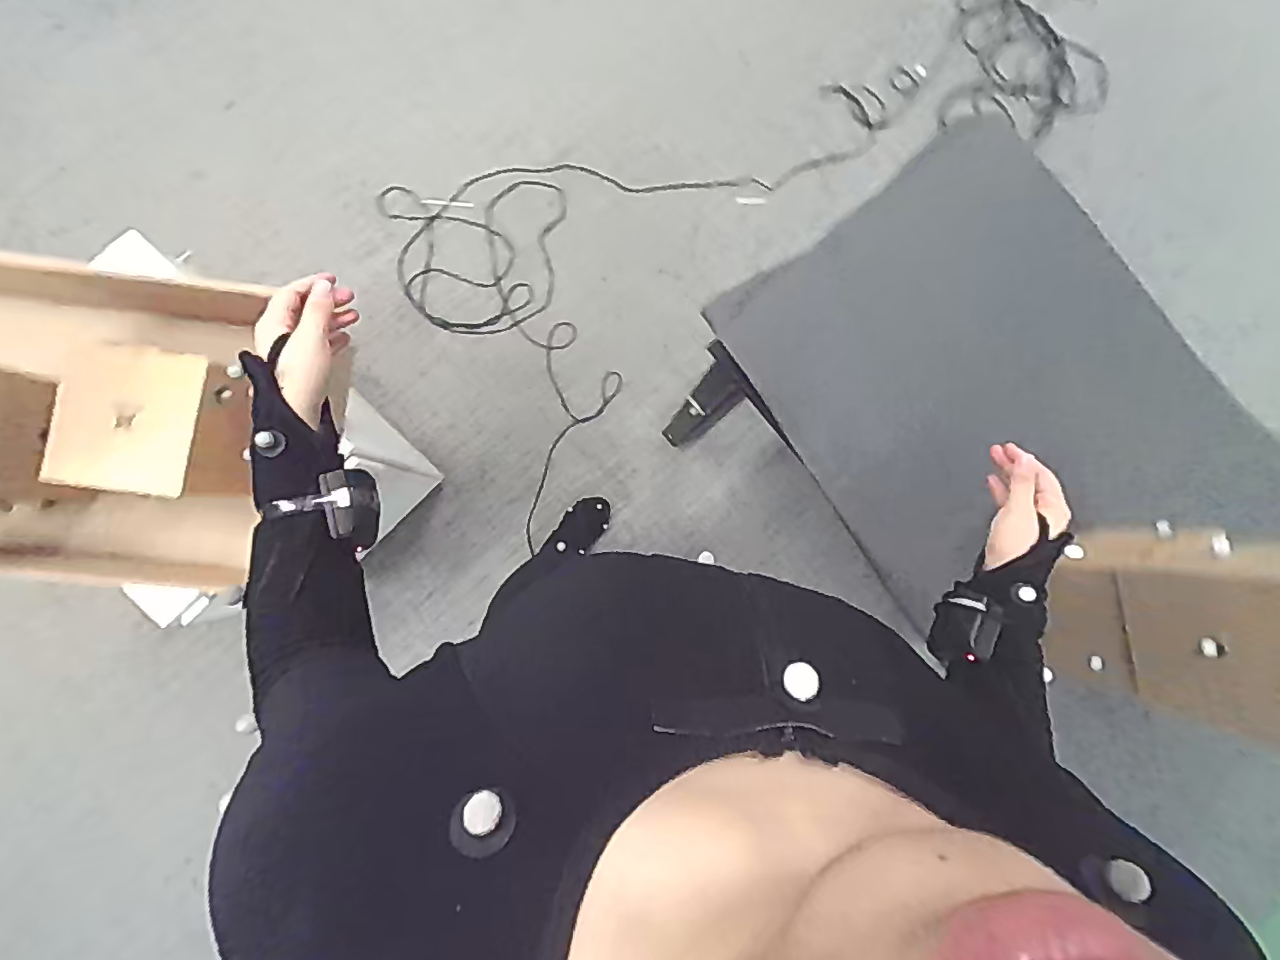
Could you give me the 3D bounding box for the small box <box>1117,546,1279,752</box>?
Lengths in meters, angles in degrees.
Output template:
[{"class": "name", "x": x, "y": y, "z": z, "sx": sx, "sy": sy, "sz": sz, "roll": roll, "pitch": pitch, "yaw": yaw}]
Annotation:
[{"class": "small box", "x": 0.671, "y": 0.169, "z": 0.576, "sx": 0.168, "sy": 0.176, "sz": 0.179, "roll": -8, "pitch": 85, "yaw": -7}]
